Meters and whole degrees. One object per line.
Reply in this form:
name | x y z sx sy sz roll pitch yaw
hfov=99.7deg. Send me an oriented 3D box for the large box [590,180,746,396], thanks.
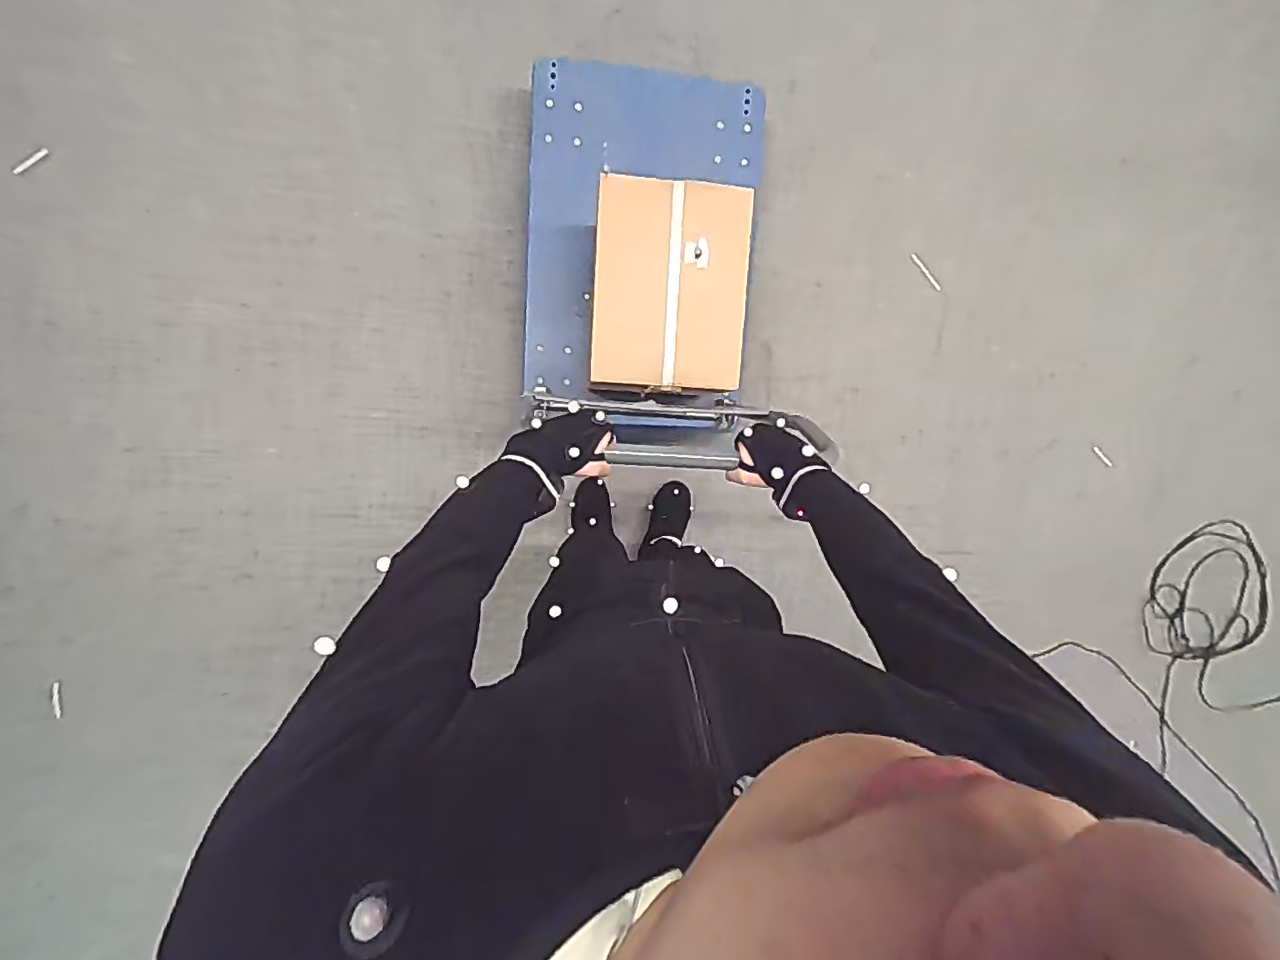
large box | 0.043 -0.404 1.243 0.320 0.320 0.408 1 95 -8
